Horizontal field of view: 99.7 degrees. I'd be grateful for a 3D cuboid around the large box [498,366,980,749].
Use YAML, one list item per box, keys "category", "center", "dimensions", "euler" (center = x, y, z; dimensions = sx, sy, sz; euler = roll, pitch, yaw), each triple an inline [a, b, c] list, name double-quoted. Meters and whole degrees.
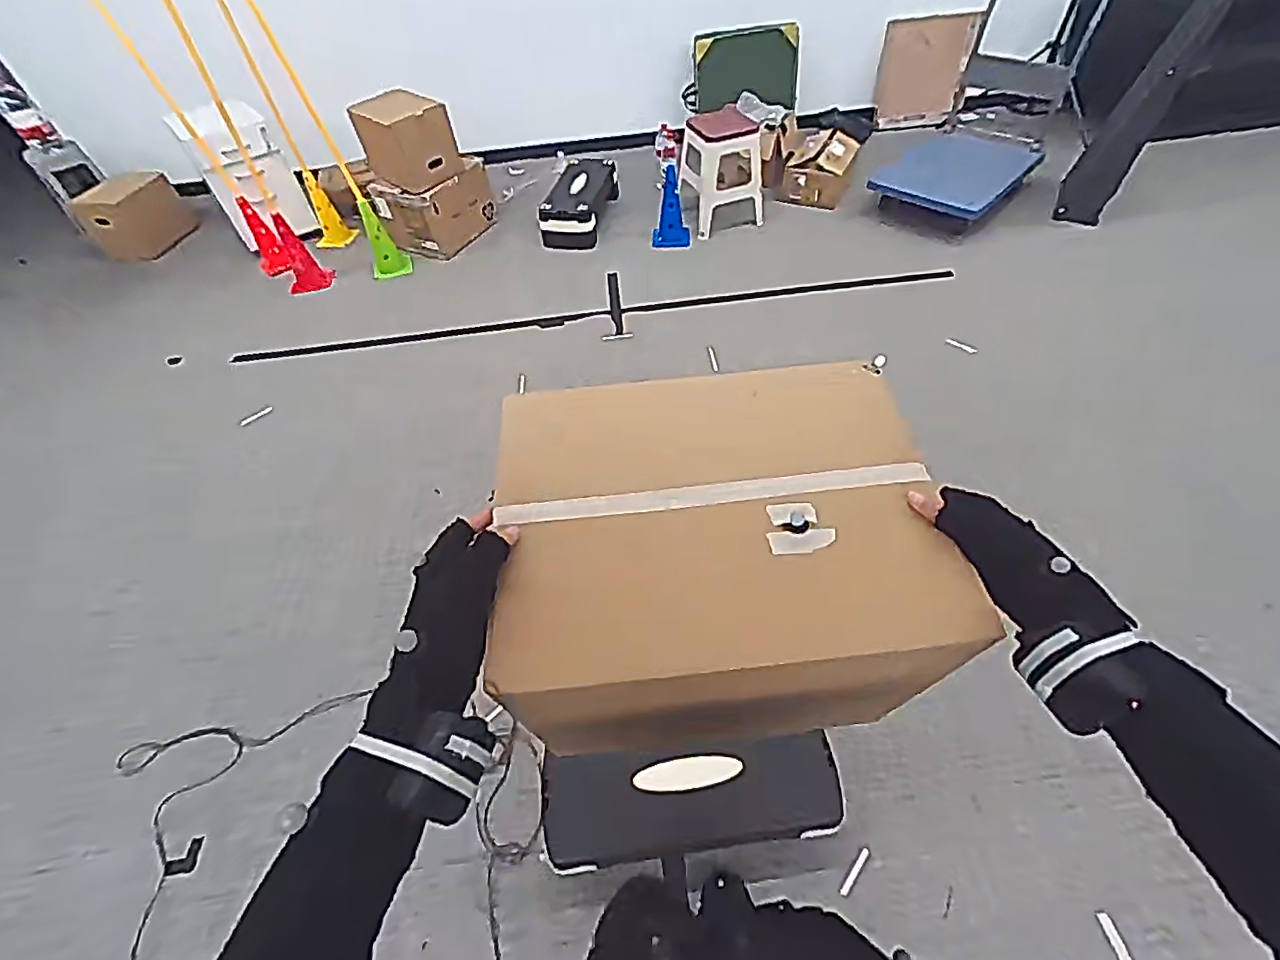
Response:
- category: "large box"
  center: [0.071, 0.102, 0.638]
  dimensions: [0.408, 0.320, 0.320]
  euler: [-6, 56, -1]
